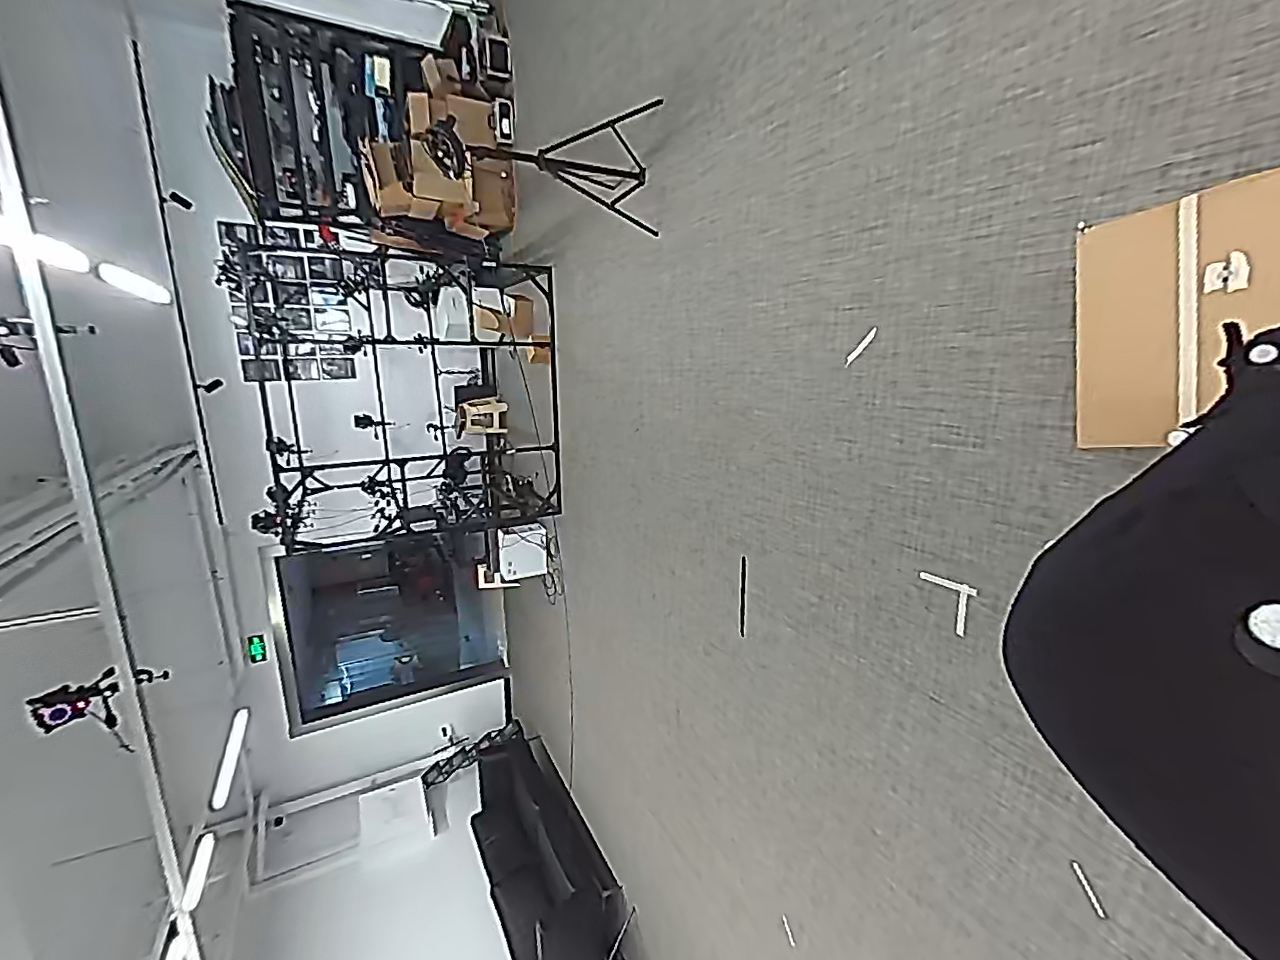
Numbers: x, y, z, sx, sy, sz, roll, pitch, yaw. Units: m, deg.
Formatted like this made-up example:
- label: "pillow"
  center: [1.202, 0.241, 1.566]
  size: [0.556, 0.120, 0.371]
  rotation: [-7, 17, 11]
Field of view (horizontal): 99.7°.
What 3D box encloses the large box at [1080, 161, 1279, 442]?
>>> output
- label: "large box"
  center: [1.027, -0.279, 0.939]
  size: [0.320, 0.320, 0.408]
  rotation: [4, 99, 62]
